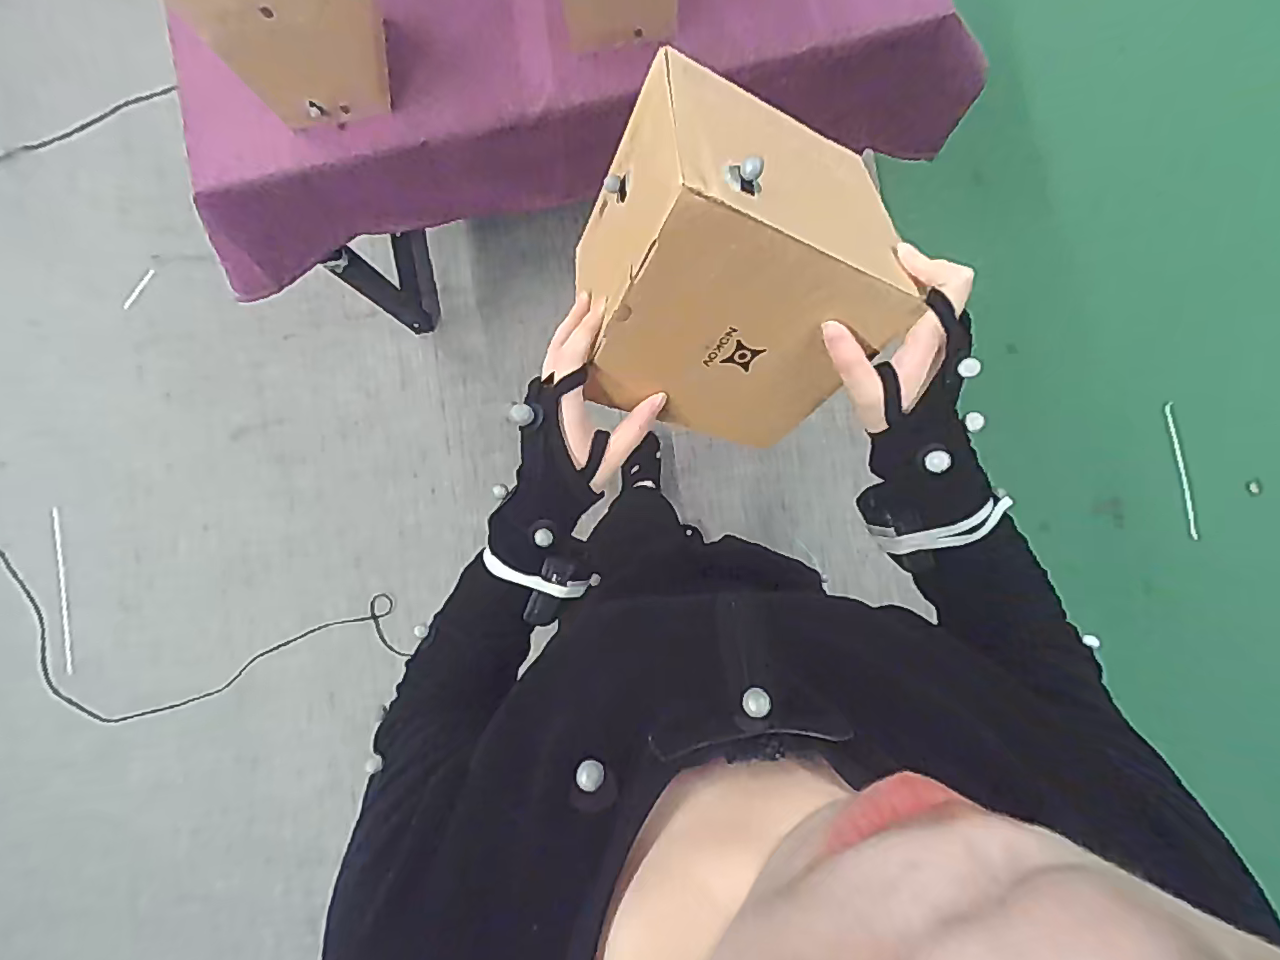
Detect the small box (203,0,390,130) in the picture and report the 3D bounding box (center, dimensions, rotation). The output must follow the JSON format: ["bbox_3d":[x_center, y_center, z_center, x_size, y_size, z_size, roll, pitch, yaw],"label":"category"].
[{"bbox_3d":[-0.484,-0.651,0.777,0.168,0.176,0.179,-7,86,3],"label":"small box"}]
